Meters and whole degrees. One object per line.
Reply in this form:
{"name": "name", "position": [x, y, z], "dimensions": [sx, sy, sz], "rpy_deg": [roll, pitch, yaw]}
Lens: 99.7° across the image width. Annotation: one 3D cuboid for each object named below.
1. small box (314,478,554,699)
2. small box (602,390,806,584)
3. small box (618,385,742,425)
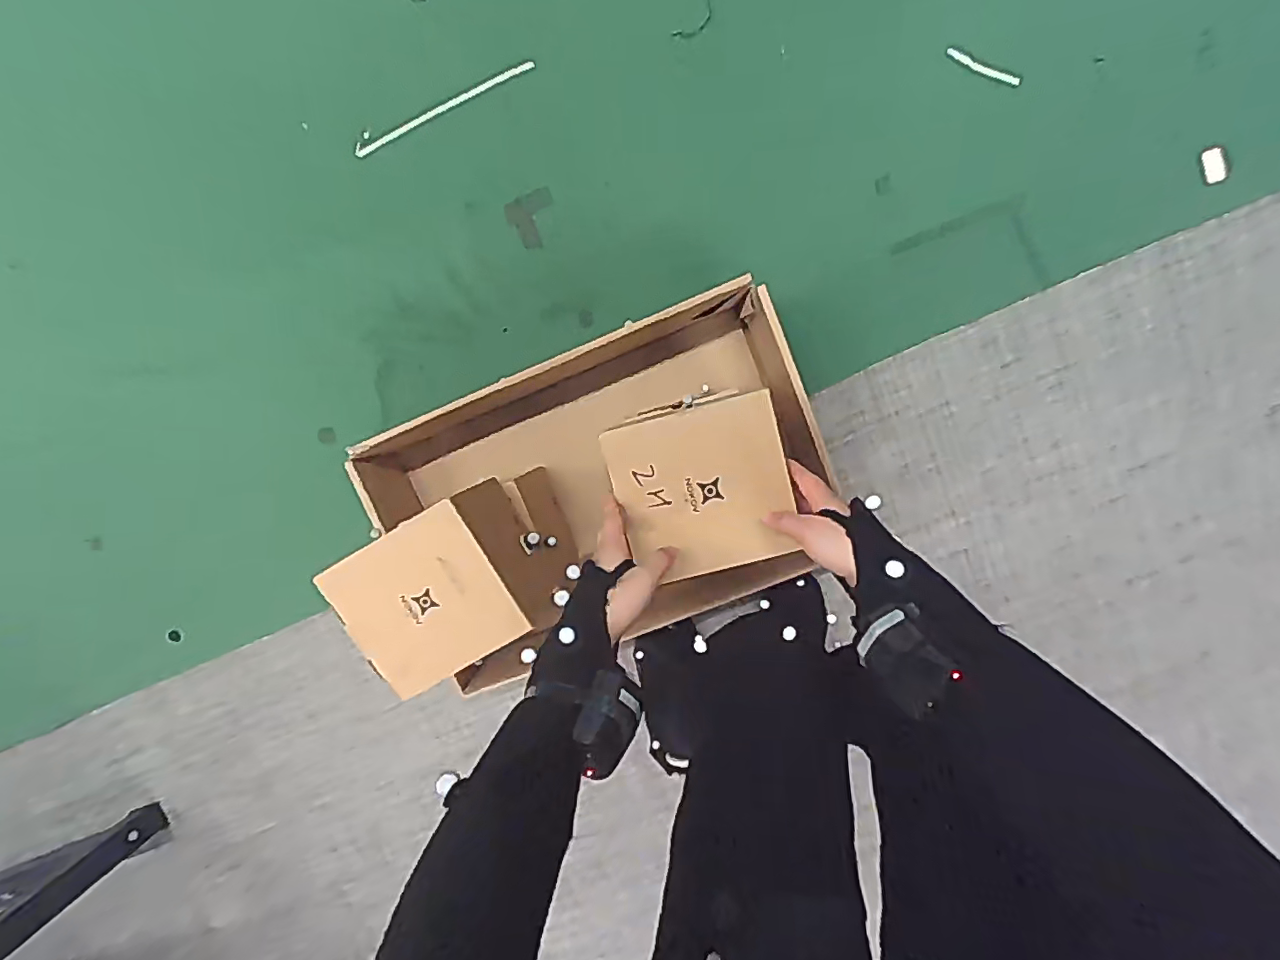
{"name": "small box", "position": [-0.223, 0.114, 0.639], "dimensions": [0.179, 0.176, 0.168], "rpy_deg": [-30, 97, 4]}
{"name": "small box", "position": [0.067, -0.002, 0.613], "dimensions": [0.179, 0.176, 0.168], "rpy_deg": [-14, 97, 5]}
{"name": "small box", "position": [0.071, -0.029, 0.774], "dimensions": [0.168, 0.176, 0.179], "rpy_deg": [-14, 98, 5]}
